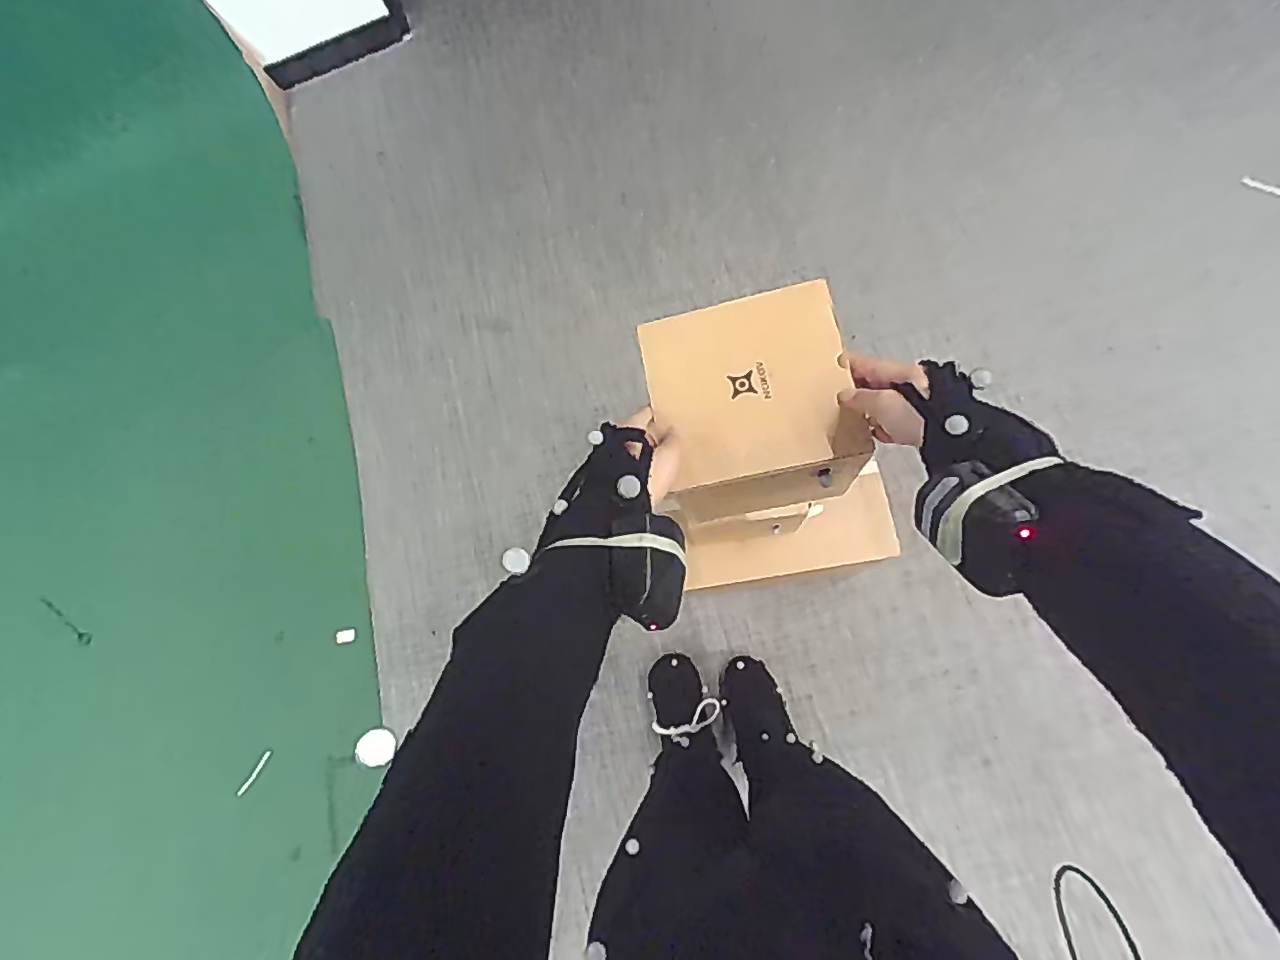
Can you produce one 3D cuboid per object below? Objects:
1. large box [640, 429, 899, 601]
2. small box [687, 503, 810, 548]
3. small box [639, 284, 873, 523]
[{"bbox_3d":[0.237,0.054,1.100,0.408,0.320,0.320,-11,75,5],"label":"large box"},{"bbox_3d":[0.159,0.008,0.870,0.179,0.176,0.168,-10,73,7],"label":"small box"},{"bbox_3d":[0.109,-0.061,0.547,0.179,0.176,0.168,-12,74,7],"label":"small box"}]
